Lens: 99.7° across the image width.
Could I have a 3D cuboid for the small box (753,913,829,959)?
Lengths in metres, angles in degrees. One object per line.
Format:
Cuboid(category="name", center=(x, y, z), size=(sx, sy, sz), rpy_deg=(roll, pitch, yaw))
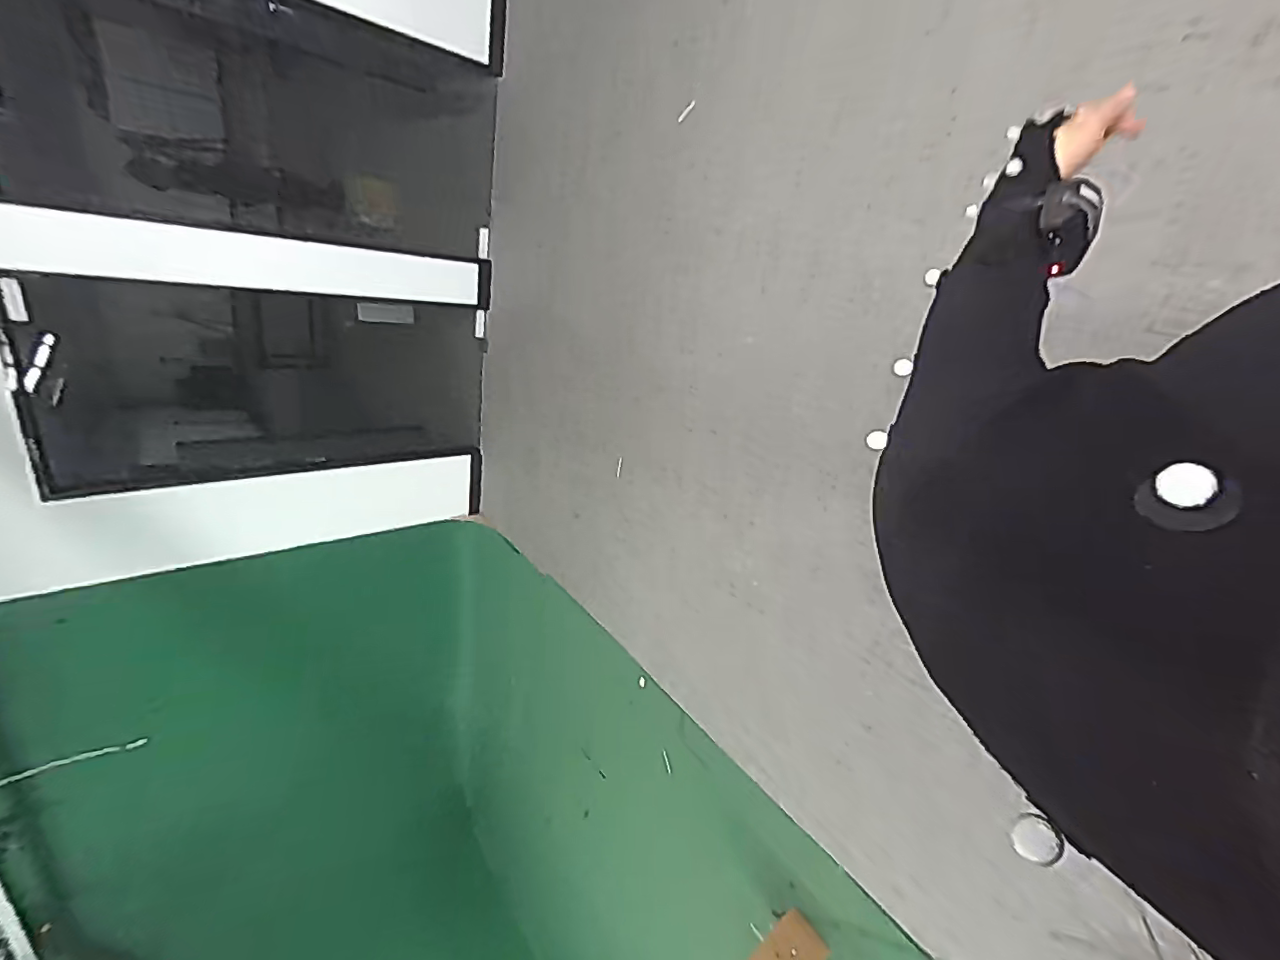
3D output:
Cuboid(category="small box", center=(0.547, 1.726, 1.961), size=(0.179, 0.176, 0.168), rpy_deg=(37, 123, 40))
